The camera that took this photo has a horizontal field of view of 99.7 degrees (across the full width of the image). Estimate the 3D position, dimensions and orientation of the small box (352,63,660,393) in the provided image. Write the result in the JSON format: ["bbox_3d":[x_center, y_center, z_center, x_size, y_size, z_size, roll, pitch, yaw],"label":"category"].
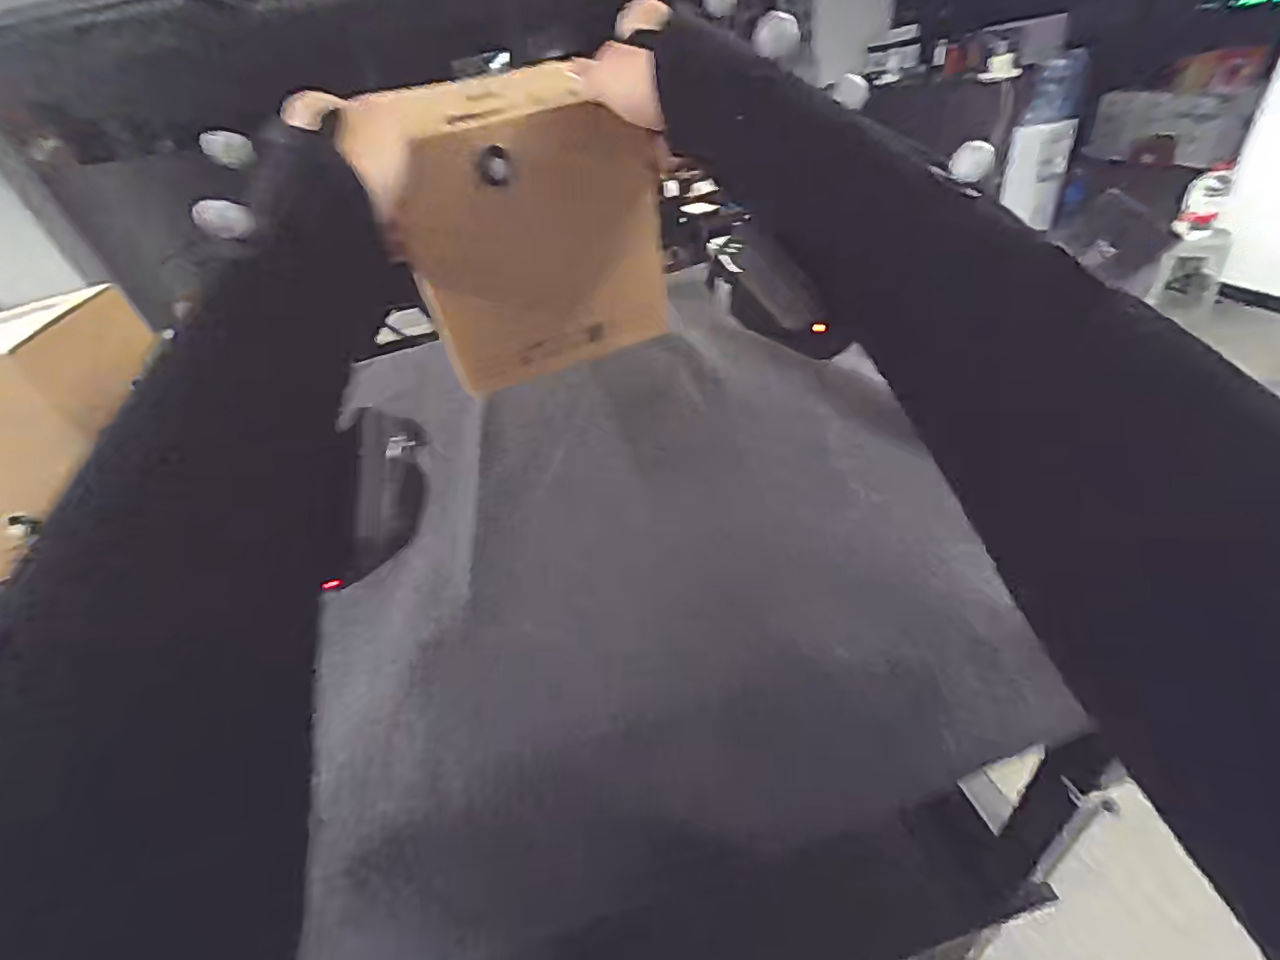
[{"bbox_3d":[-0.096,-0.194,0.413,0.168,0.176,0.179,-22,46,-12],"label":"small box"}]
